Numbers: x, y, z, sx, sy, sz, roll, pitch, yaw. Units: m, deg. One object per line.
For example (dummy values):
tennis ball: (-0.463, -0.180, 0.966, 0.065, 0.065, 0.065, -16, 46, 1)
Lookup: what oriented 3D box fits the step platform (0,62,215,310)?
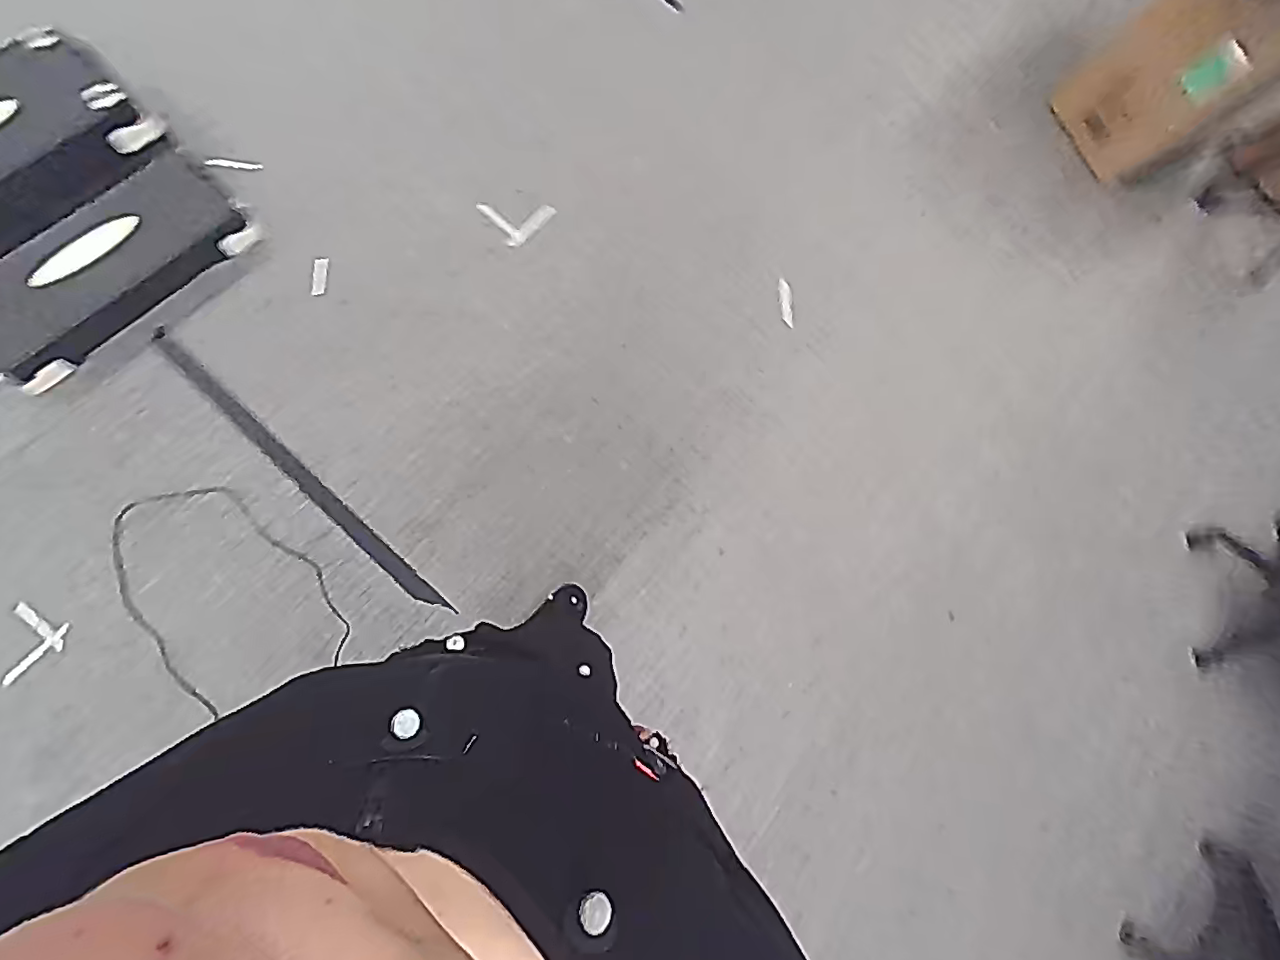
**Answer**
step platform: (-1.470, -0.715, 1.321, 0.684, 0.204, 0.286, -41, 87, -15)
